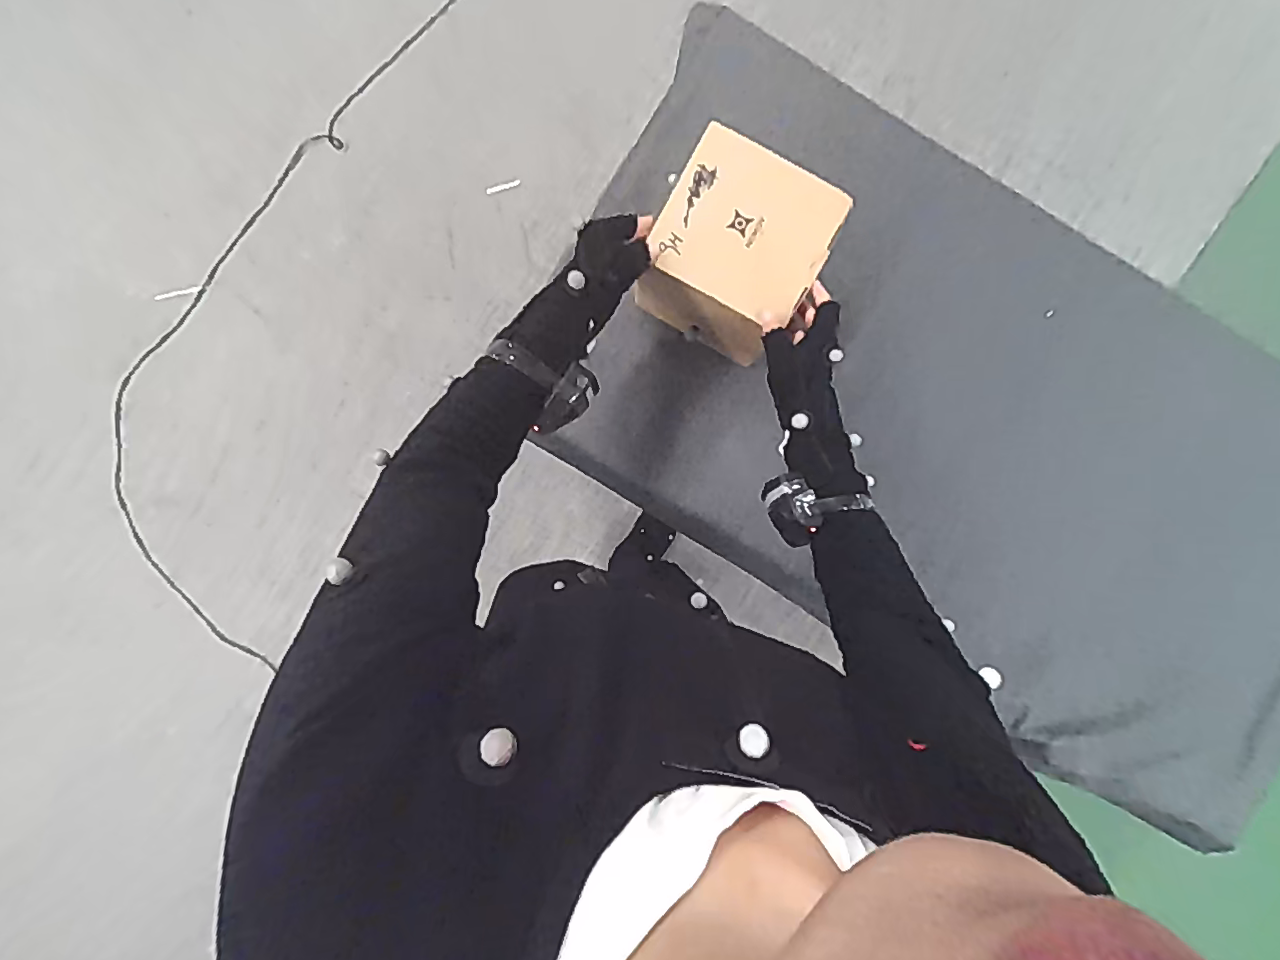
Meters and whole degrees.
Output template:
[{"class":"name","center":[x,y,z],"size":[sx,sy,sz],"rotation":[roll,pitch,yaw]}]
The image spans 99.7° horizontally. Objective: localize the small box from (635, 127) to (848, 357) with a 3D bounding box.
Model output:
[{"class":"small box","center":[0.108,-0.265,0.654],"size":[0.179,0.176,0.168],"rotation":[29,90,-3]}]
